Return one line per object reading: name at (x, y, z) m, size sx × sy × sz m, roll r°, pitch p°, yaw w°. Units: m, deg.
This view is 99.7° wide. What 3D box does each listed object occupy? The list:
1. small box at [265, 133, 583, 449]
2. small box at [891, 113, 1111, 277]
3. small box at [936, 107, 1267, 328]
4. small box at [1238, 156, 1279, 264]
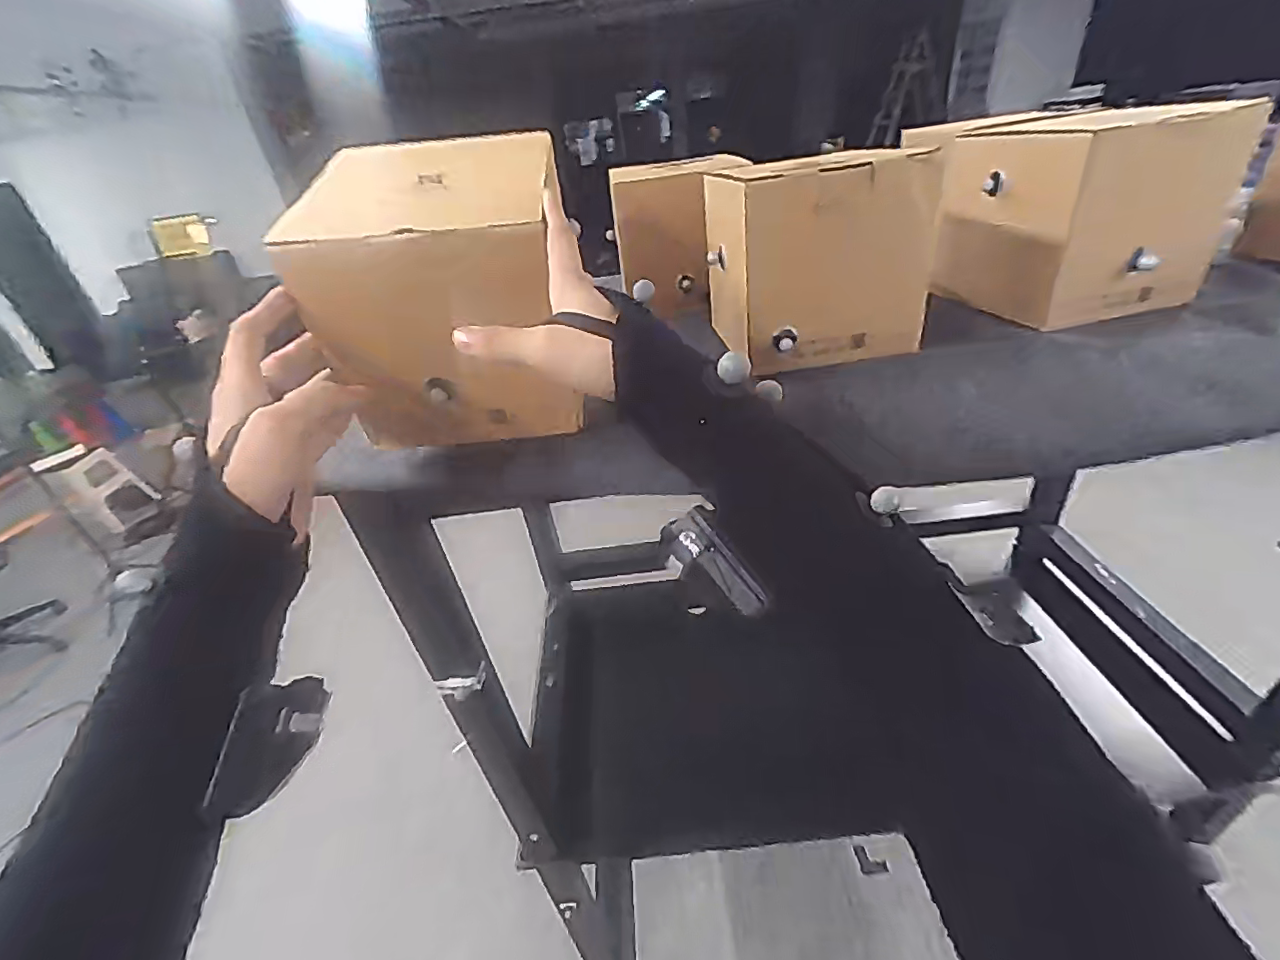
small box at (-0.137, -0.147, 0.423) m, size 0.168 × 0.176 × 0.179 m, roll -6°, pitch 48°, yaw -2°
small box at (0.470, -0.388, 0.738) m, size 0.179 × 0.176 × 0.168 m, roll -6°, pitch 32°, yaw 3°
small box at (0.439, -0.268, 0.556) m, size 0.168 × 0.176 × 0.179 m, roll -12°, pitch 33°, yaw -5°
small box at (0.772, -0.299, 0.528) m, size 0.168 × 0.176 × 0.179 m, roll -6°, pitch 32°, yaw 5°
